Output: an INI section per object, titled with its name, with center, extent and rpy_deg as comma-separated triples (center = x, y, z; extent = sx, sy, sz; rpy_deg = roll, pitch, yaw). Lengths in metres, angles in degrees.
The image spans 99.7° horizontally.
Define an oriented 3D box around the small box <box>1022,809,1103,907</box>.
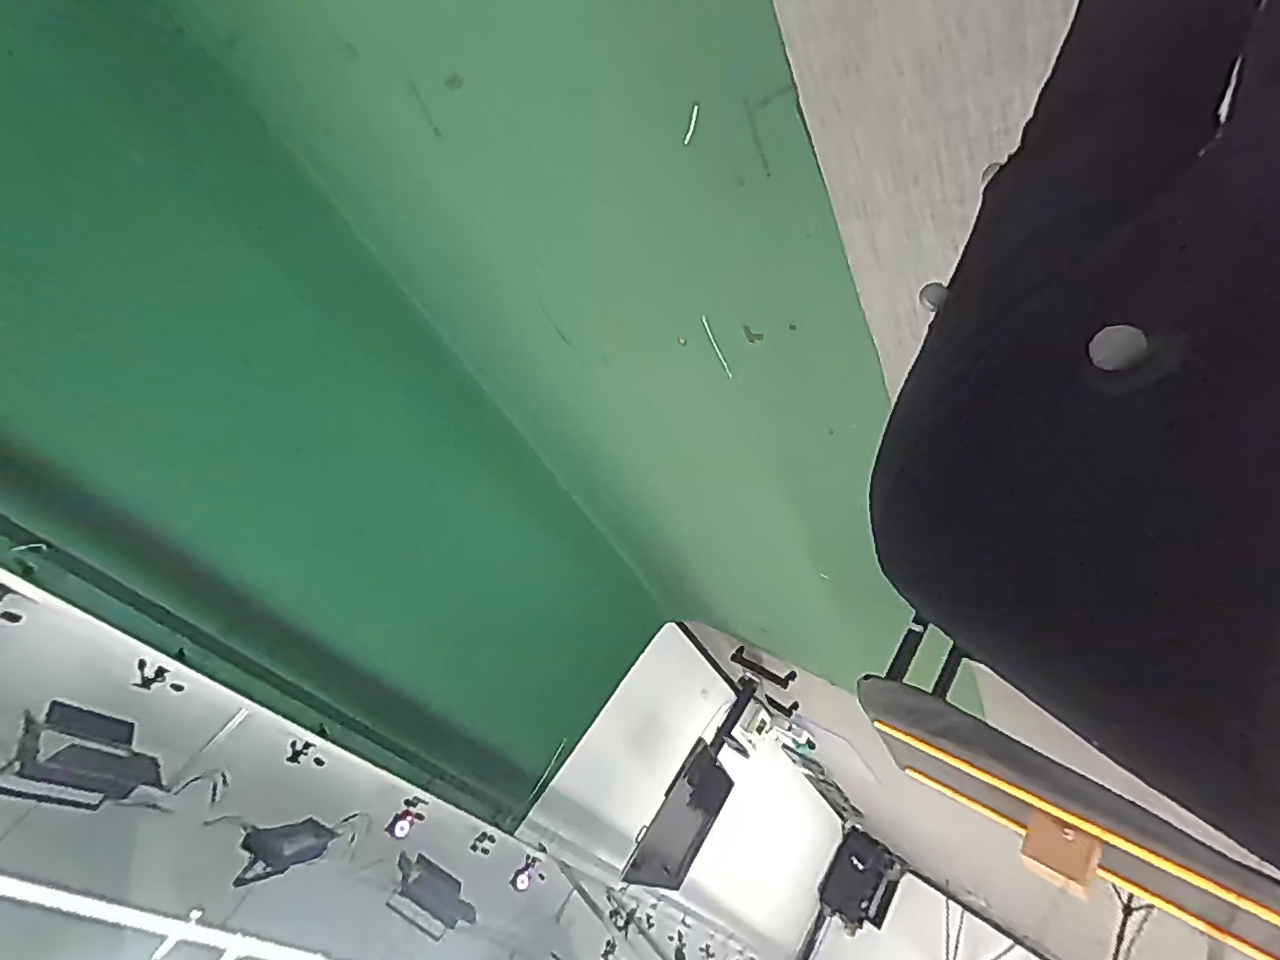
[small box]
center = 1.354, 1.201, 1.727
extent = 0.168, 0.176, 0.179
rpy_deg = 8, 142, 50
